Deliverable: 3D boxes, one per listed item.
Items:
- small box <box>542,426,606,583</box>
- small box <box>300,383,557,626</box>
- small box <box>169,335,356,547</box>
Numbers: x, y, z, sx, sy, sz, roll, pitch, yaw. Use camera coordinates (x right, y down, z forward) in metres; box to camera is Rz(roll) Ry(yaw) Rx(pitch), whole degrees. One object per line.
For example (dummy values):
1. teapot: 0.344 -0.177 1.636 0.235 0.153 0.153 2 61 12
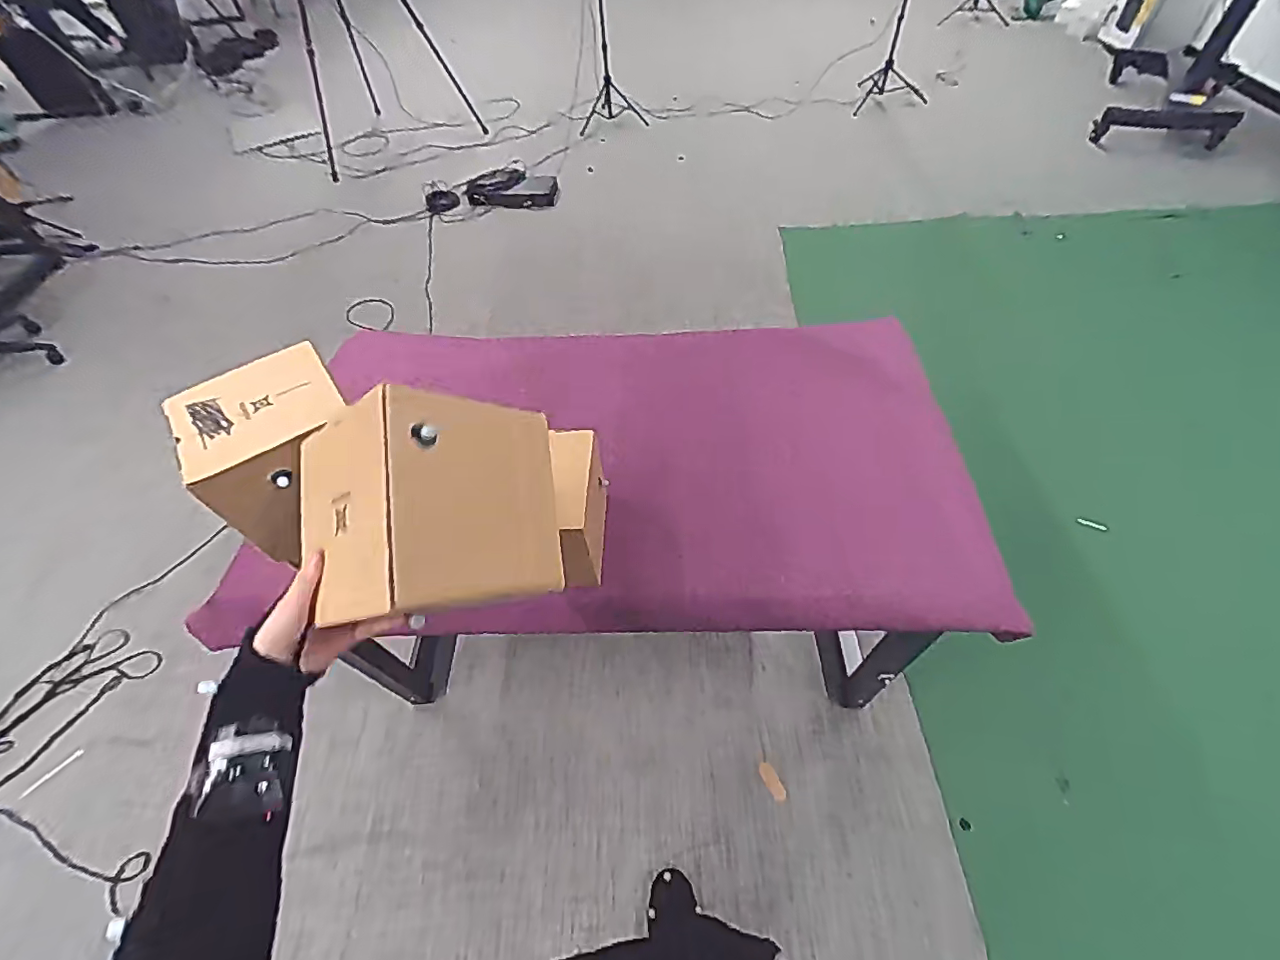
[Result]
1. small box: -0.145 0.037 0.813 0.168 0.176 0.179 -1 53 4
2. small box: -0.193 0.031 0.504 0.168 0.176 0.179 -18 75 38
3. small box: -0.436 -0.046 0.687 0.179 0.176 0.168 -31 58 -19
